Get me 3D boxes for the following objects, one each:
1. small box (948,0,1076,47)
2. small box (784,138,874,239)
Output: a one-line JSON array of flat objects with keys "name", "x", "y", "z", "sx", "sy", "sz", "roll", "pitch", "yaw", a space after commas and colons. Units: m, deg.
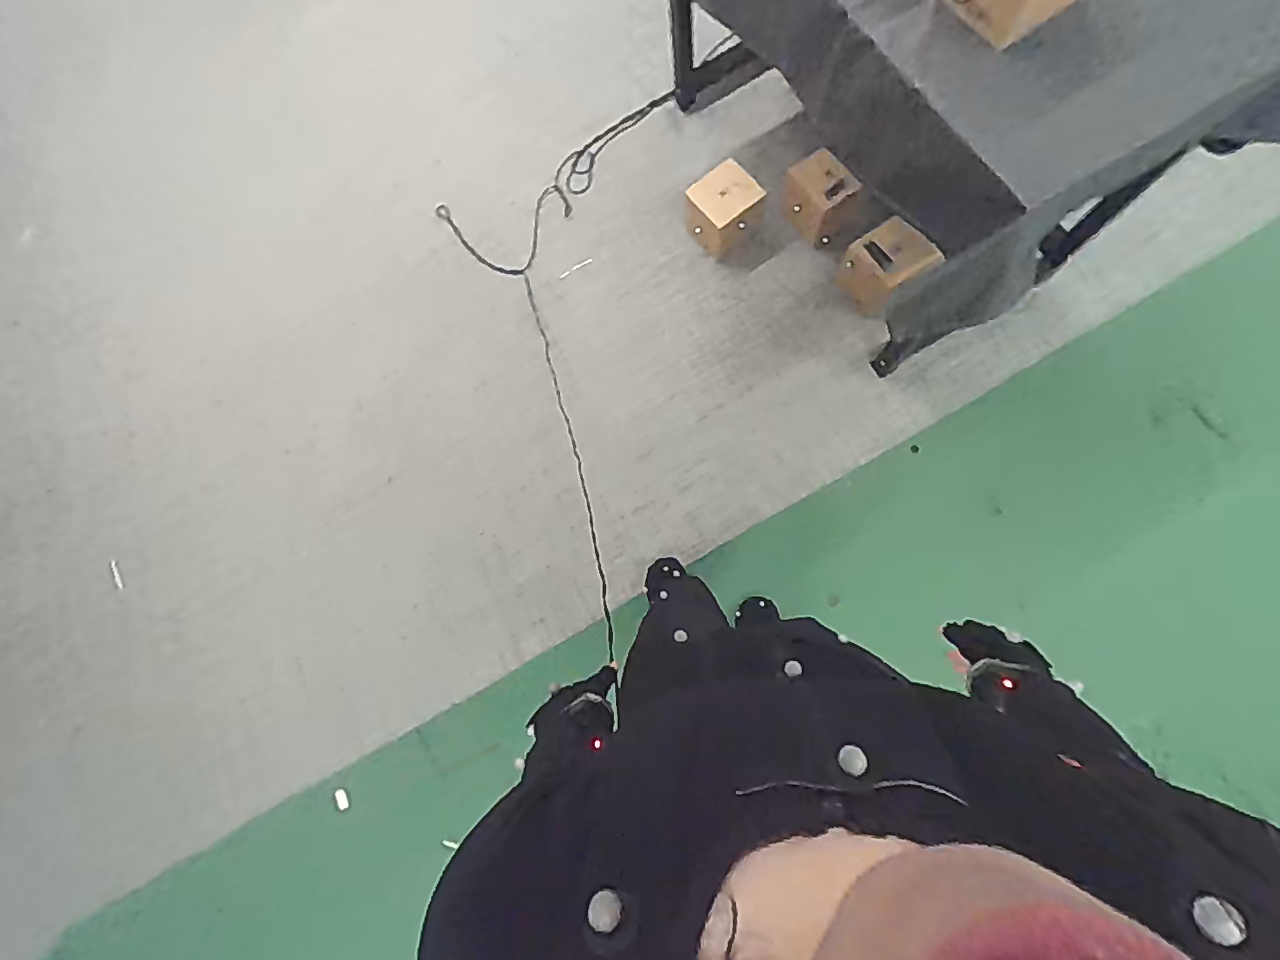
[{"name": "small box", "x": 0.616, "y": -0.836, "z": 0.833, "sx": 0.179, "sy": 0.176, "sz": 0.168, "roll": -33, "pitch": 76, "yaw": 0}, {"name": "small box", "x": 0.545, "y": -0.841, "z": 1.585, "sx": 0.168, "sy": 0.176, "sz": 0.179, "roll": -32, "pitch": 76, "yaw": -1}]
